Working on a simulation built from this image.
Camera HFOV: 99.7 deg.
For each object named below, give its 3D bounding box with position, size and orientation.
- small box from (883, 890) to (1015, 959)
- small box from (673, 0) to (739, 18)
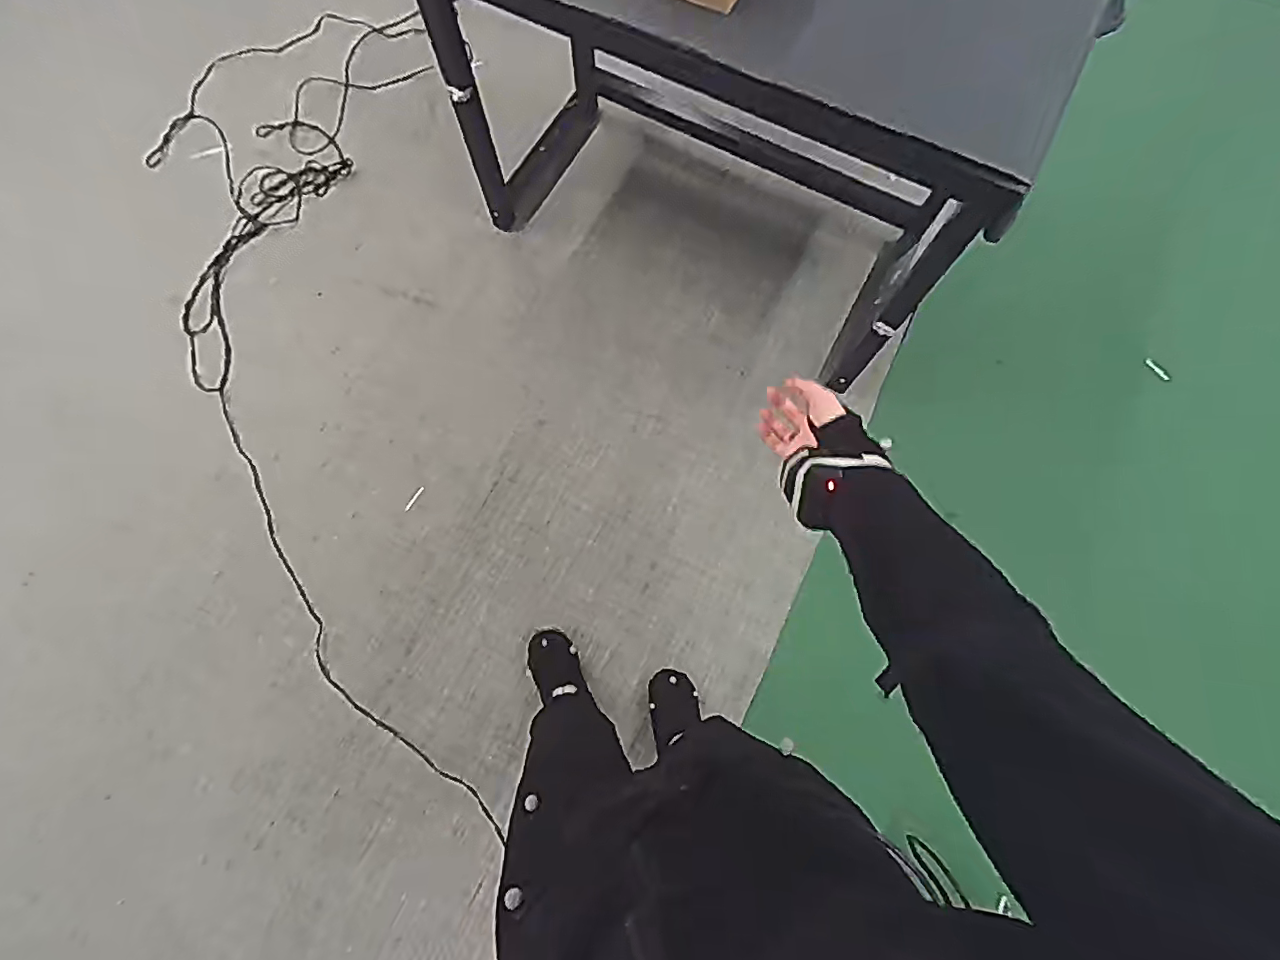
[{"bbox_3d":[0.630,0.980,1.087,0.179,0.176,0.168,29,75,8],"label":"small box"},{"bbox_3d":[0.116,-0.914,0.876,0.168,0.176,0.179,25,74,7],"label":"small box"}]
